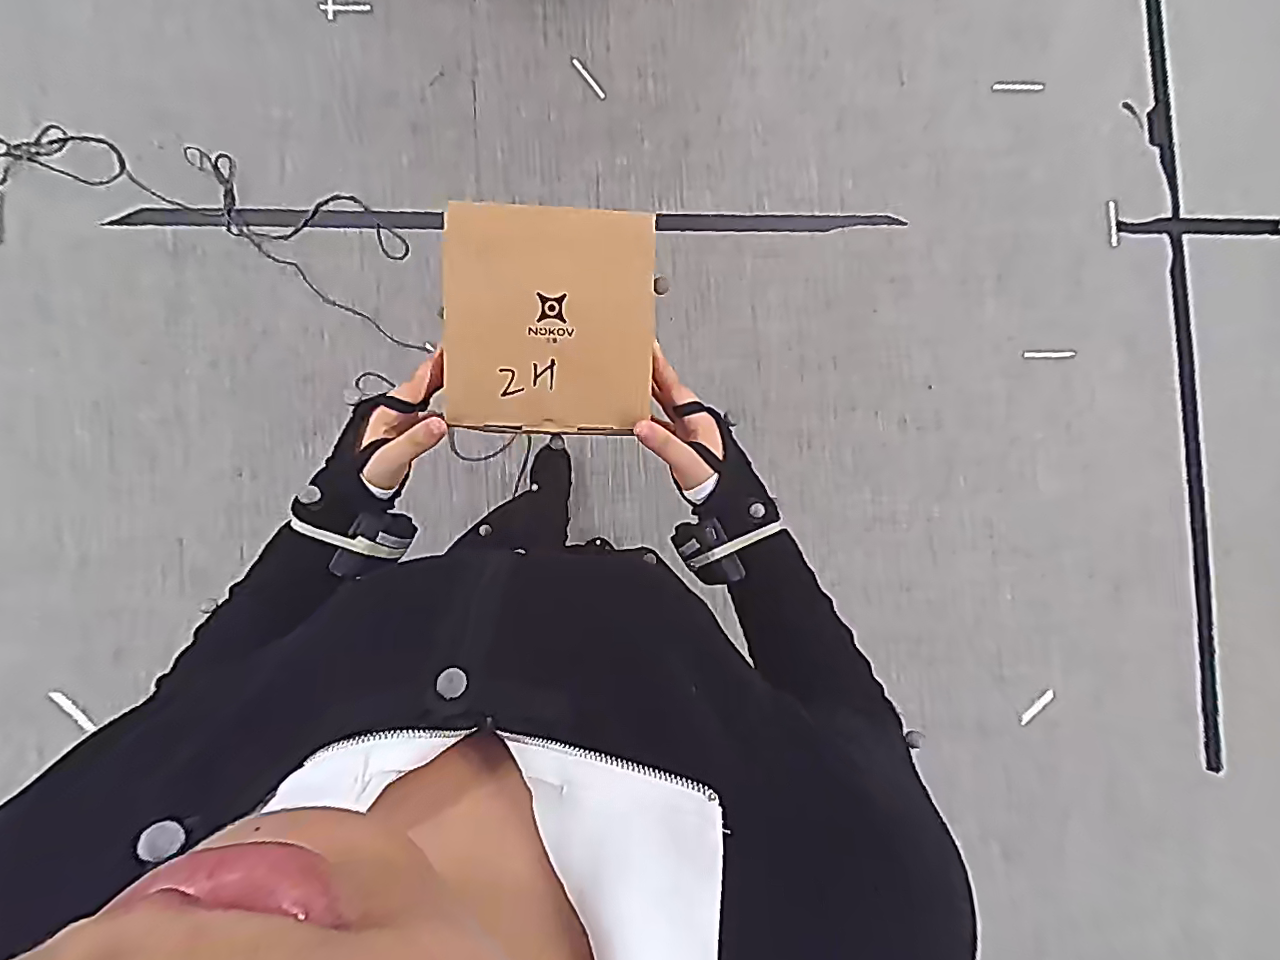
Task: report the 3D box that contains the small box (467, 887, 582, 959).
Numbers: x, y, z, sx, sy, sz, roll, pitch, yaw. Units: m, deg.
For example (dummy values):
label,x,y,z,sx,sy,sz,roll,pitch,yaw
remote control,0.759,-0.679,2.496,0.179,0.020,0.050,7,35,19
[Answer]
label,x,y,z,sx,sy,sz,roll,pitch,yaw
small box,-0.183,0.823,0.892,0.168,0.176,0.179,-4,84,-4

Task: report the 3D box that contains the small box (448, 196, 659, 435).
label,x,y,z,sx,sy,sz,roll,pitch,yaw
small box,-0.075,-0.136,0.510,0.168,0.176,0.179,1,93,-4
